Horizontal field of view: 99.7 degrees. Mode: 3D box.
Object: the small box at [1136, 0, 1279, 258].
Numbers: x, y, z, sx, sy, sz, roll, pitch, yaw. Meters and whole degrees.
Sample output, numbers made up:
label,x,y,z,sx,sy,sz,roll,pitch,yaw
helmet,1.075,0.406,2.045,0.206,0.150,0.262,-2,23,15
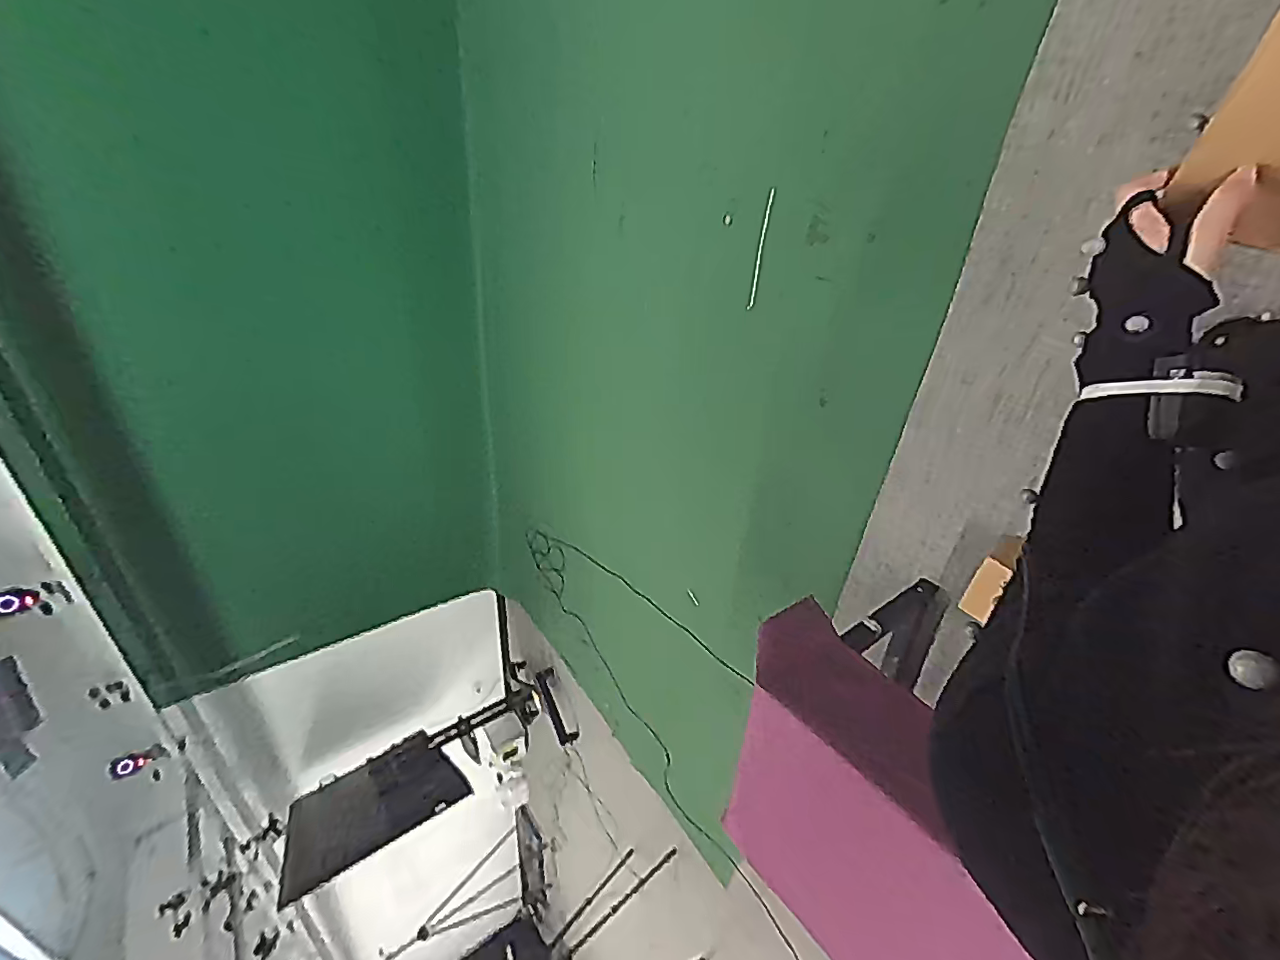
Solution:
label,x,y,z,sx,sy,sz,roll,pitch,yaw
small box,0.511,-0.275,0.368,0.168,0.176,0.179,35,158,27
